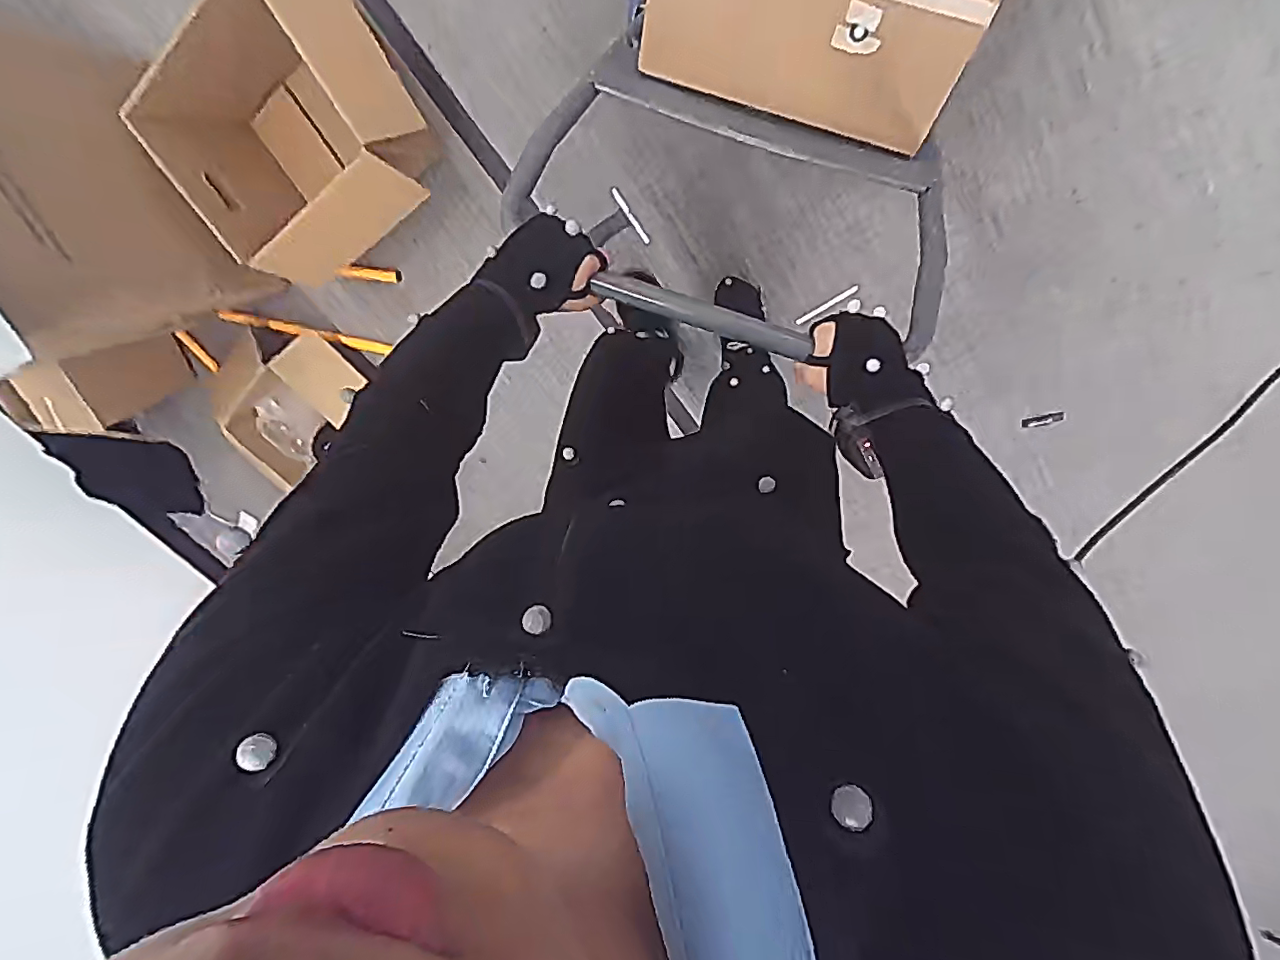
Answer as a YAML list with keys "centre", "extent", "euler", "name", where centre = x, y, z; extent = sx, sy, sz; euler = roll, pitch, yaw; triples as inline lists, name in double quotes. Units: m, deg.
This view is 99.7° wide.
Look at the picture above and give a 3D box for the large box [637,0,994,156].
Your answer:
- centre: [0.242, -0.698, 0.715]
  extent: [0.408, 0.320, 0.320]
  euler: [18, 143, 1]
  name: "large box"
